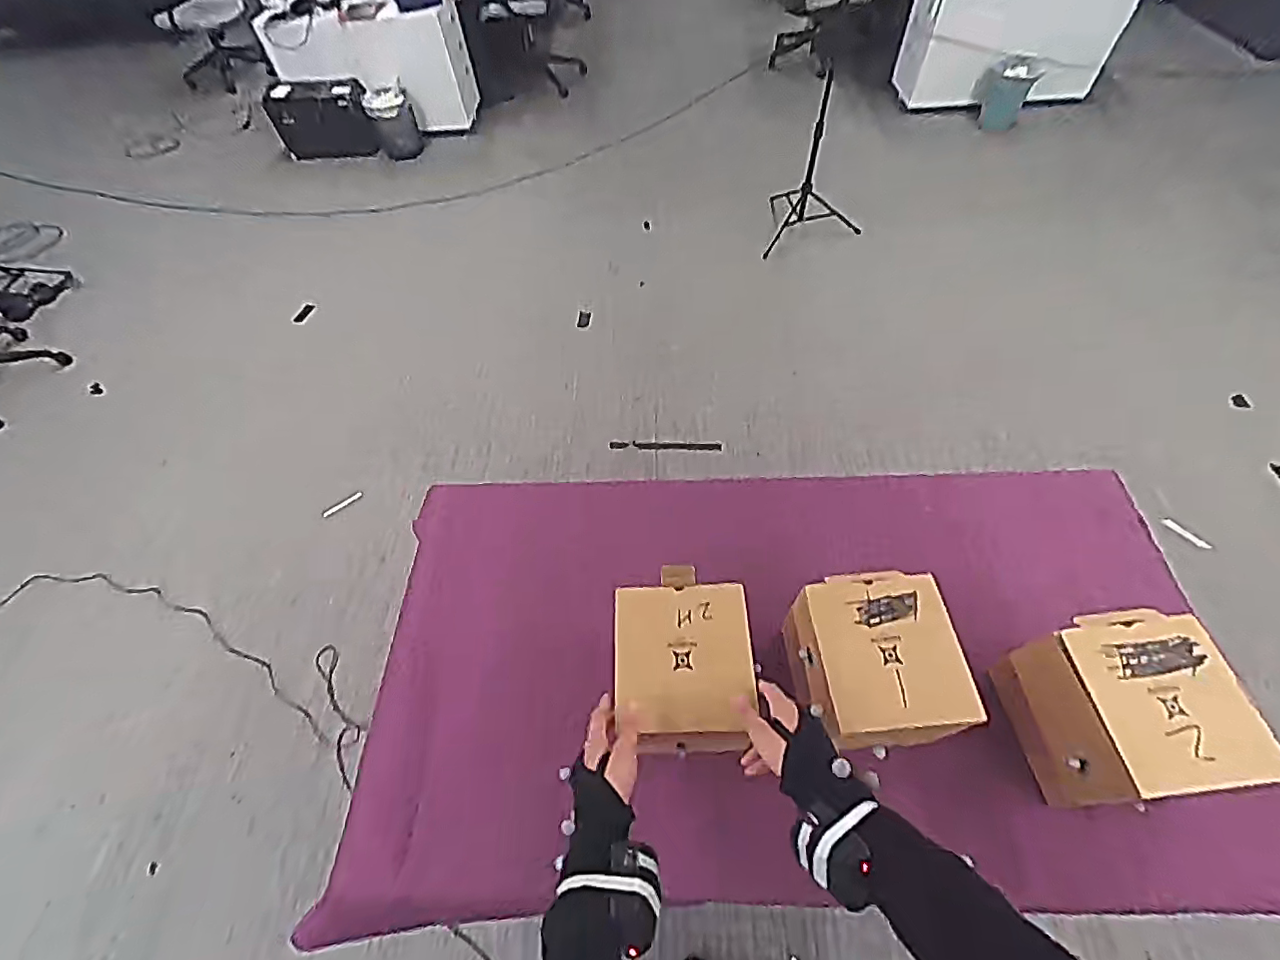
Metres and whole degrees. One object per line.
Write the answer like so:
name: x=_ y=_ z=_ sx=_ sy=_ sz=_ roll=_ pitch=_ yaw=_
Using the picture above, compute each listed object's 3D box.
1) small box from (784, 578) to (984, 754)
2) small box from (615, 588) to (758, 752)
small box: x=0.299 y=0.248 z=0.712 sx=0.168 sy=0.176 sz=0.179 roll=-5 pitch=56 yaw=0
small box: x=0.057 y=0.259 z=0.719 sx=0.168 sy=0.176 sz=0.179 roll=-2 pitch=56 yaw=2
